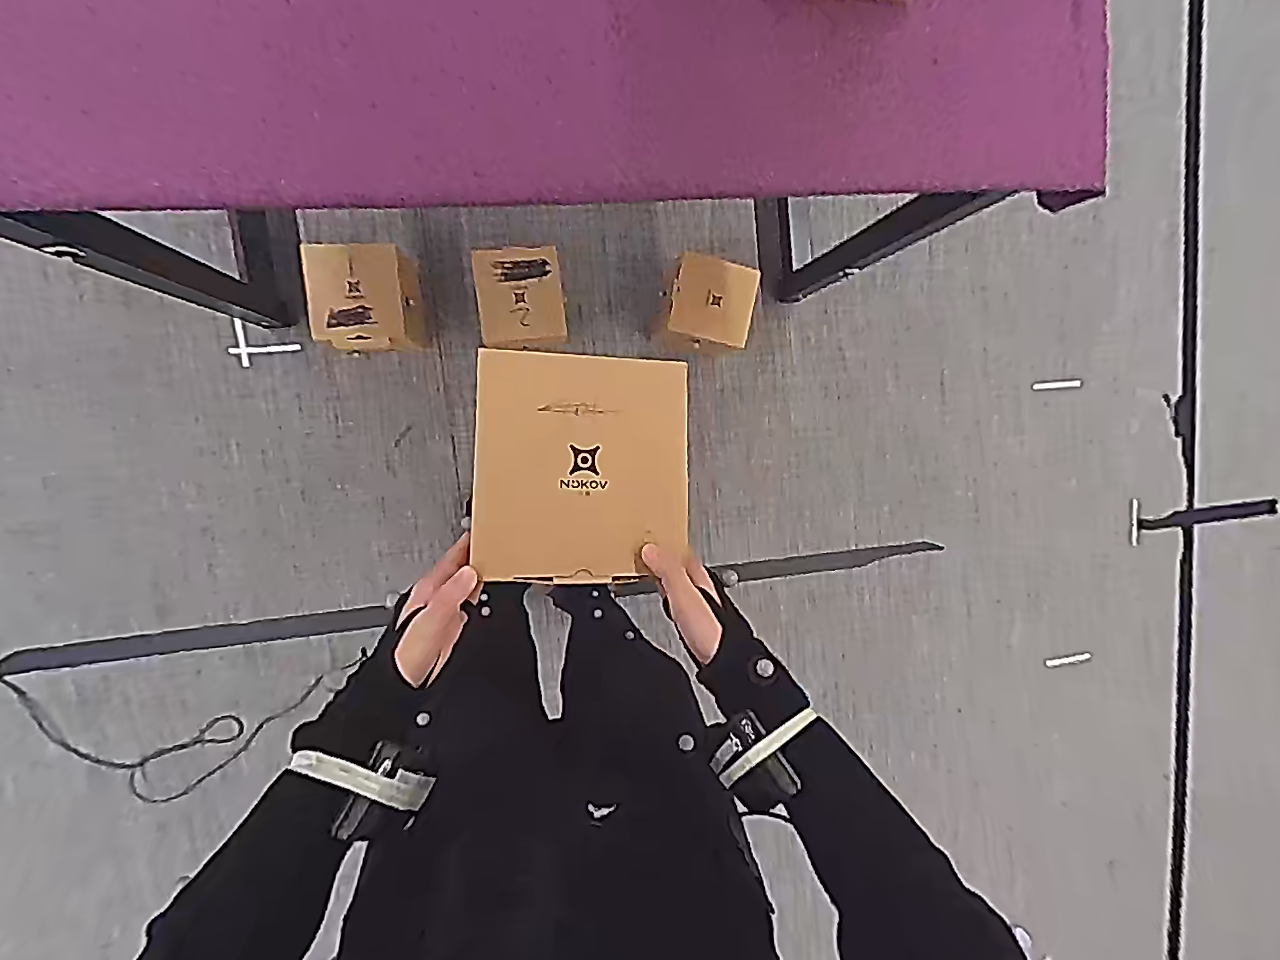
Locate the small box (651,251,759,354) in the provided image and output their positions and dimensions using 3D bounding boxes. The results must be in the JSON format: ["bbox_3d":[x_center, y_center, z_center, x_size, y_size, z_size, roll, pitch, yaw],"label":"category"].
[{"bbox_3d":[0.137,-0.384,1.201,0.179,0.176,0.168,11,95,-10],"label":"small box"}]

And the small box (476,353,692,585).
[{"bbox_3d":[-0.054,0.000,0.494,0.168,0.176,0.179,1,83,-12],"label":"small box"}]

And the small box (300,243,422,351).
[{"bbox_3d":[-0.544,-0.354,1.075,0.168,0.176,0.179,-5,96,-10],"label":"small box"}]
